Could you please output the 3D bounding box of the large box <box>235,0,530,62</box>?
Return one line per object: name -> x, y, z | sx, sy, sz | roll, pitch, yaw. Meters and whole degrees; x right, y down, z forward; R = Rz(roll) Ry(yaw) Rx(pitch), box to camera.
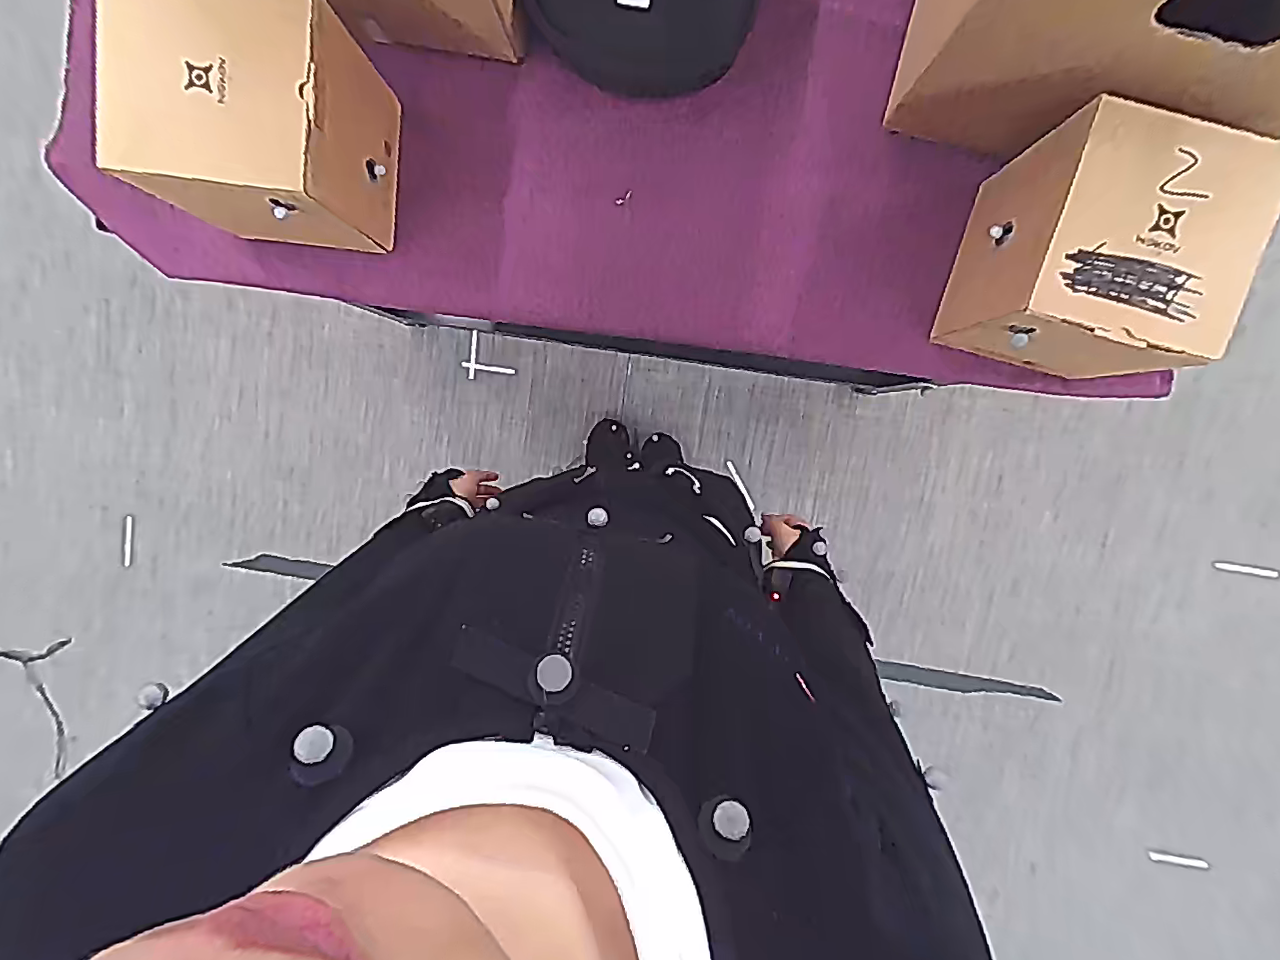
large box -> -0.255, -0.657, 0.427 | 0.320, 0.320, 0.408 | 8, 100, 1
